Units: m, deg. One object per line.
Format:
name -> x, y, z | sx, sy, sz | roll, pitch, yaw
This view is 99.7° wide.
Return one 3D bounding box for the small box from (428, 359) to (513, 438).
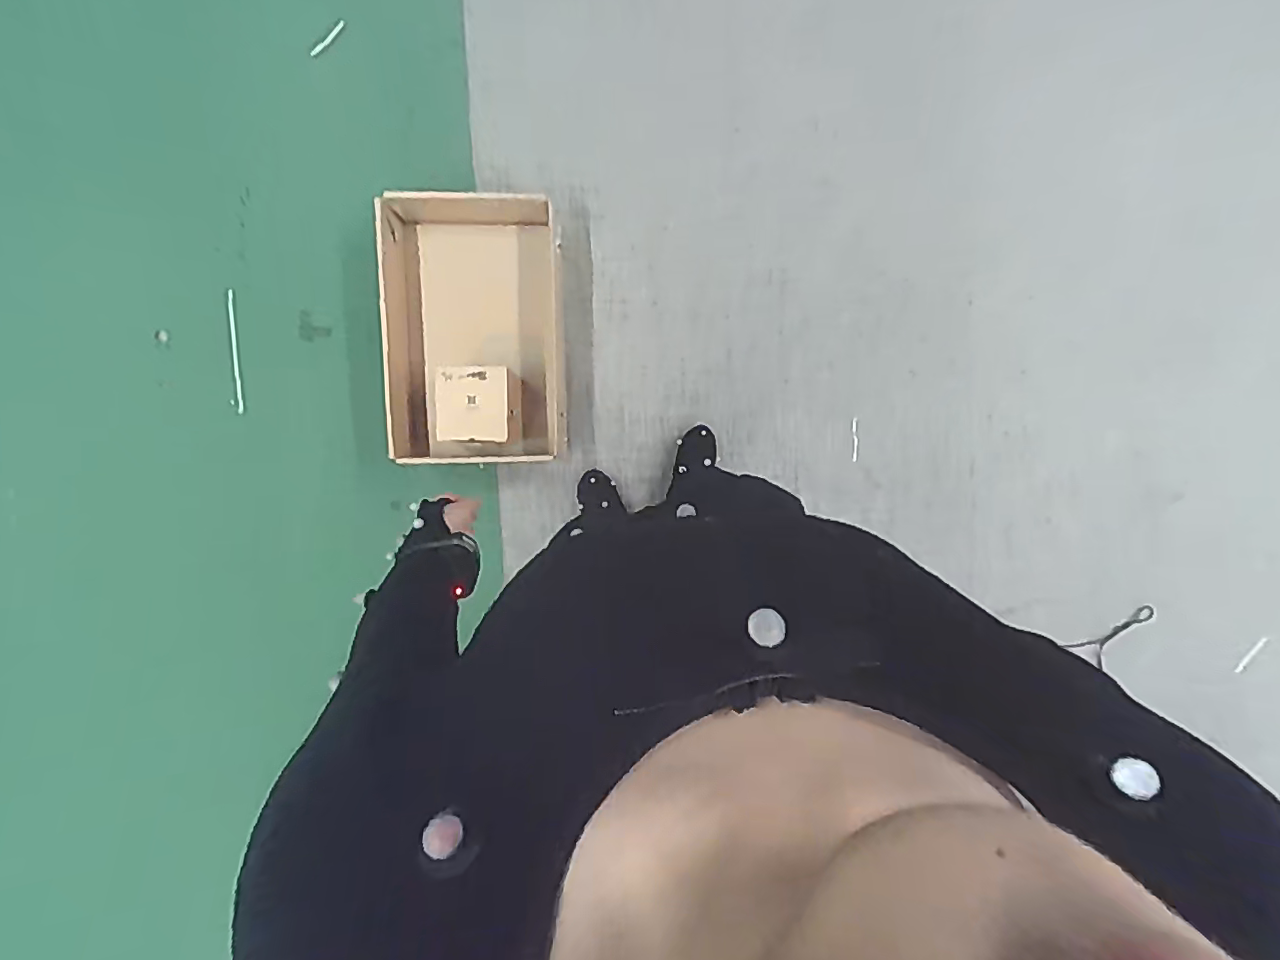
small box -> -0.401, -0.192, 1.302 | 0.168, 0.176, 0.179 | 0, 95, -5
